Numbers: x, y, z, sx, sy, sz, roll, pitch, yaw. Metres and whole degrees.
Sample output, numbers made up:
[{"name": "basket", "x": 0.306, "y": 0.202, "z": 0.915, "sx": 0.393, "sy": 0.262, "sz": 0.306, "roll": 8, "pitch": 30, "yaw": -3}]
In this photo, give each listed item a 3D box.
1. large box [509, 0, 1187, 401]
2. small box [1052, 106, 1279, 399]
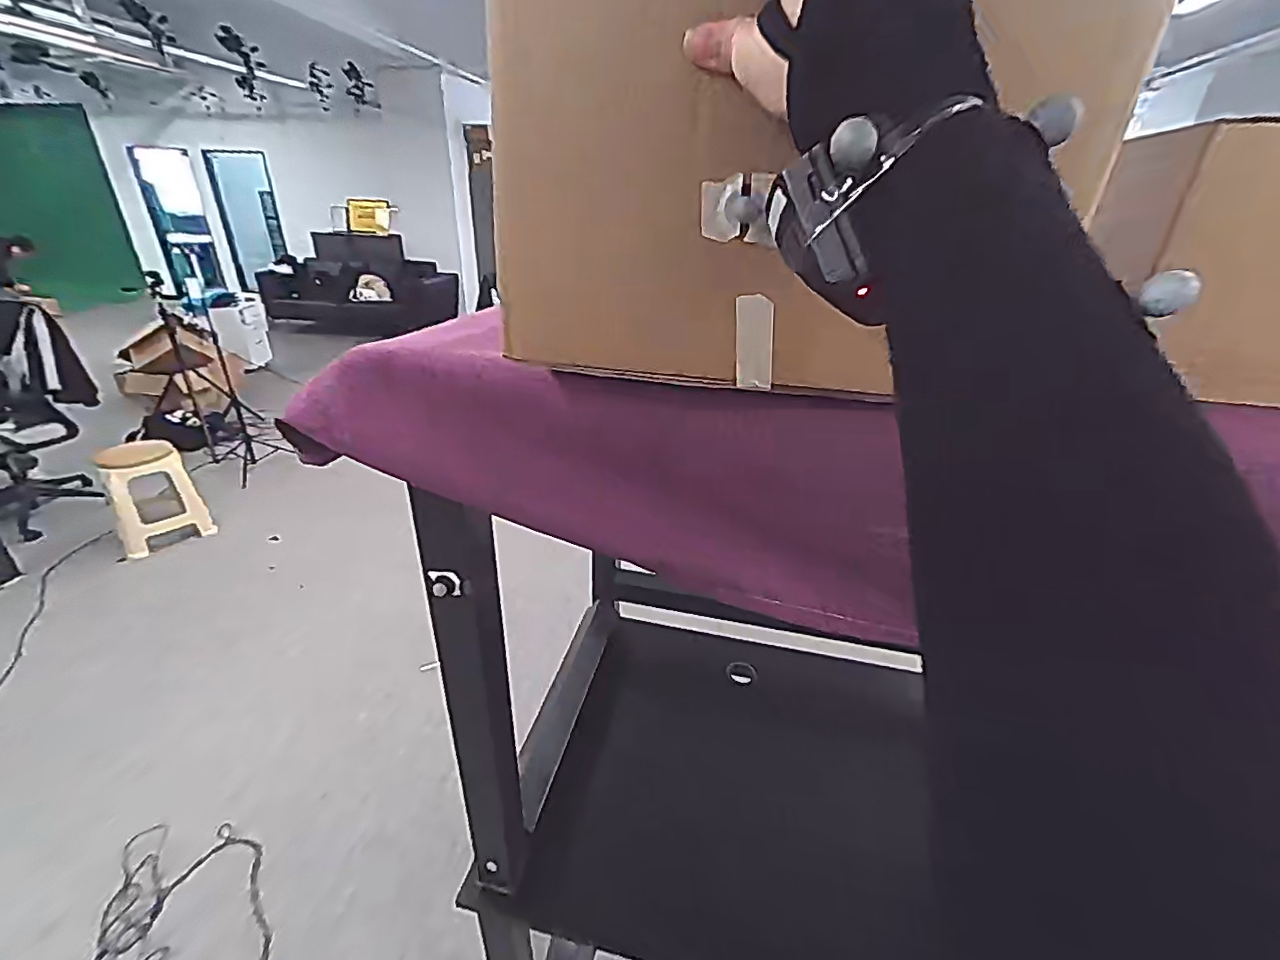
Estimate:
[{"name": "large box", "x": 0.099, "y": -0.271, "z": 0.427, "sx": 0.320, "sy": 0.320, "sz": 0.408, "roll": 6, "pitch": 25, "yaw": 3}, {"name": "small box", "x": 0.433, "y": -0.161, "z": 0.400, "sx": 0.179, "sy": 0.176, "sz": 0.168, "roll": 8, "pitch": 26, "yaw": 11}]
